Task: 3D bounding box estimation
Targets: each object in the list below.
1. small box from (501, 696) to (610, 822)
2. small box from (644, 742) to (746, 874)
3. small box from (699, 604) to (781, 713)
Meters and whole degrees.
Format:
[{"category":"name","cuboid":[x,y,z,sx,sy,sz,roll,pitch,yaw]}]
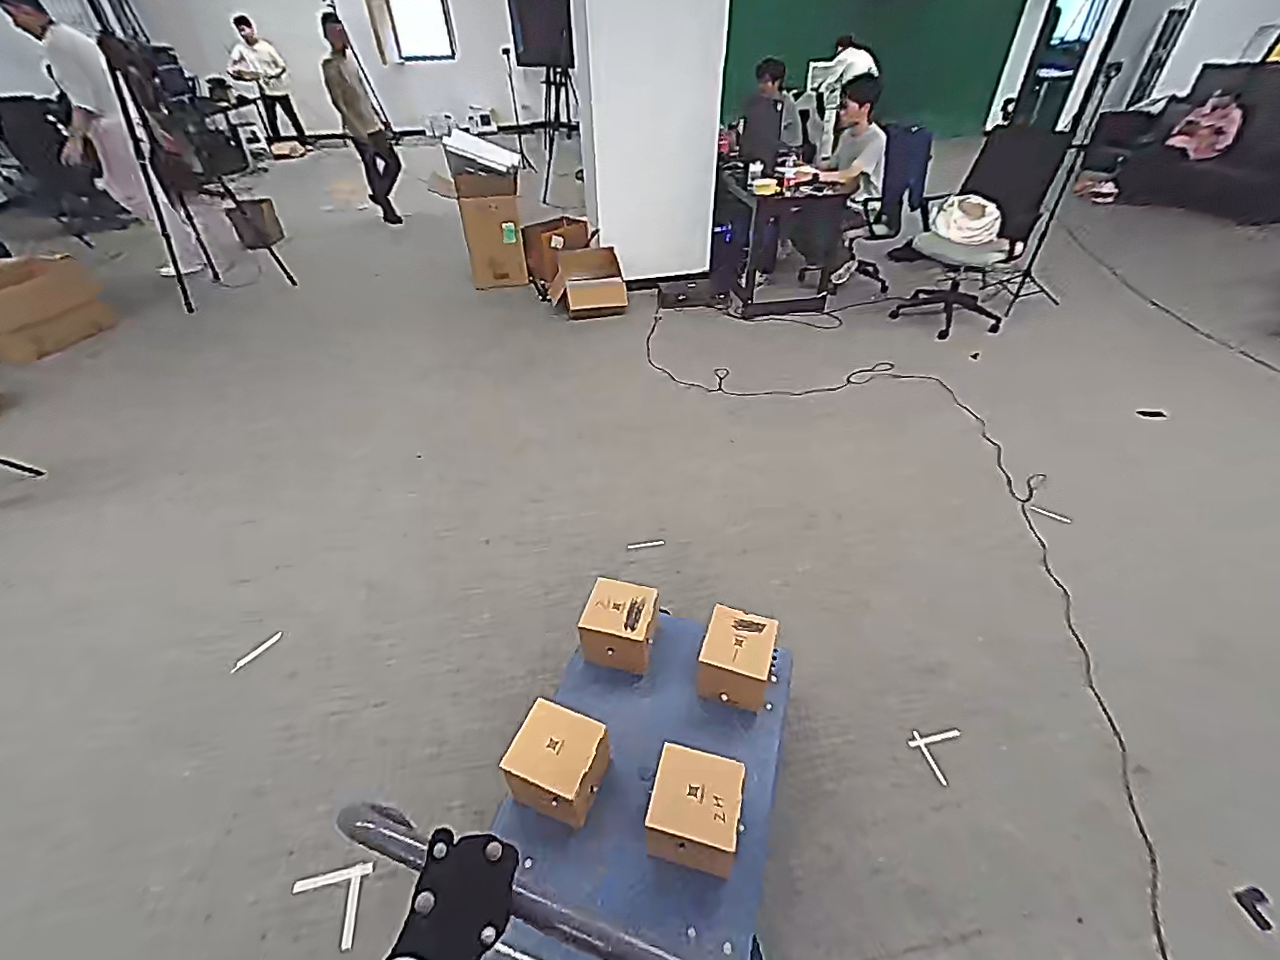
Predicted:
[{"category":"small box","cuboid":[-0.179,0.621,1.201,0.179,0.176,0.168,16,43,17]},{"category":"small box","cuboid":[0.114,0.681,1.122,0.179,0.176,0.168,10,42,13]},{"category":"small box","cuboid":[0.251,0.456,1.382,0.168,0.176,0.179,13,44,17]}]
